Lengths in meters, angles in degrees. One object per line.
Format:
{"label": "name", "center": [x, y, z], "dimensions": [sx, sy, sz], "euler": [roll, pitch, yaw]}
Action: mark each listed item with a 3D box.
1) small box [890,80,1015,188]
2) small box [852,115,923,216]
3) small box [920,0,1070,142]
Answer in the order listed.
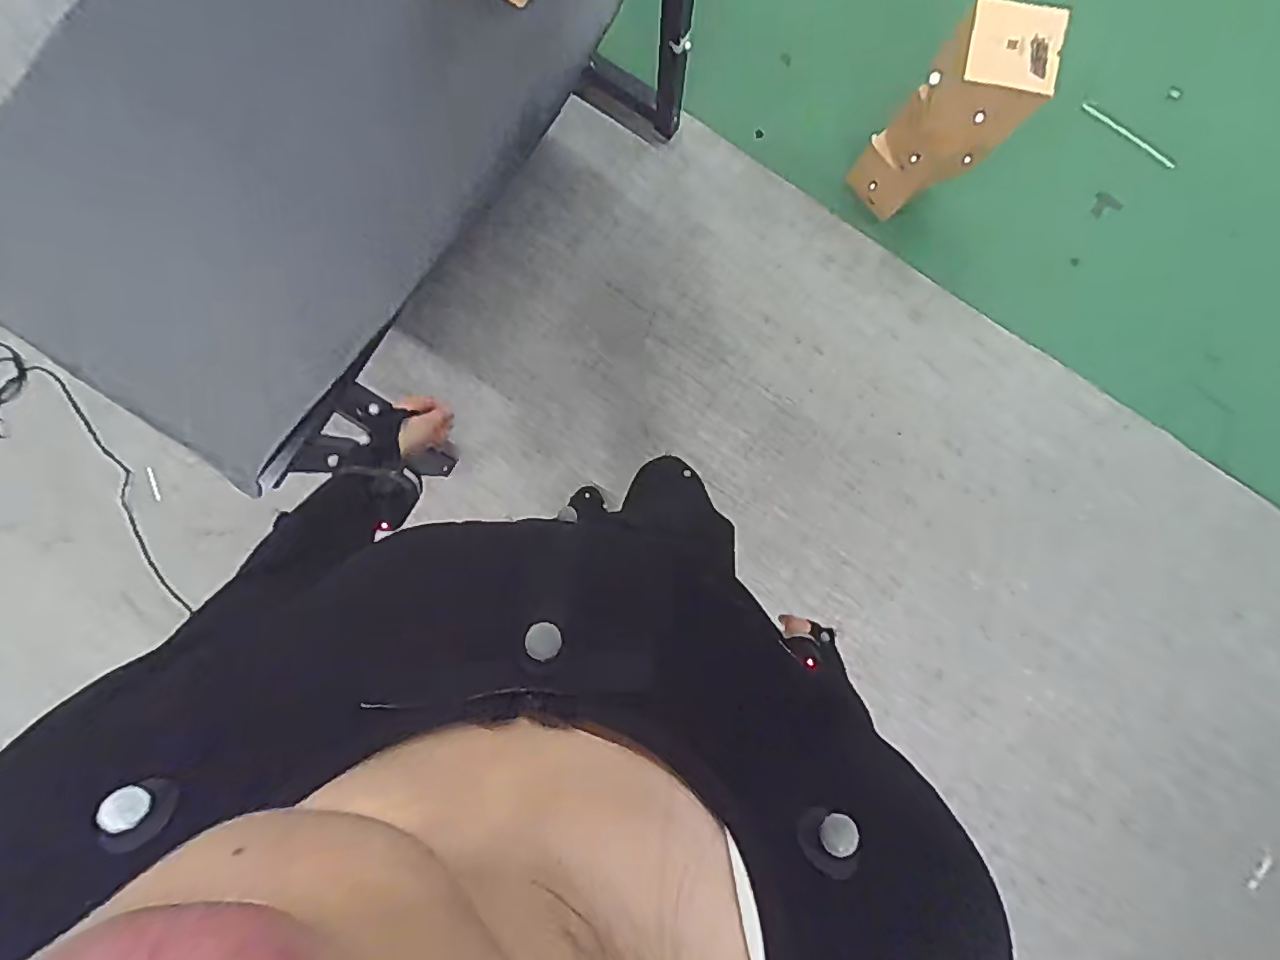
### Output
{"label": "small box", "center": [0.712, -0.817, 1.259], "dimensions": [0.179, 0.176, 0.168], "euler": [-20, 92, -1]}
{"label": "small box", "center": [0.687, -0.839, 1.421], "dimensions": [0.179, 0.176, 0.168], "euler": [-40, 91, -1]}
{"label": "small box", "center": [0.707, -0.821, 1.095], "dimensions": [0.179, 0.176, 0.168], "euler": [10, 91, 0]}
